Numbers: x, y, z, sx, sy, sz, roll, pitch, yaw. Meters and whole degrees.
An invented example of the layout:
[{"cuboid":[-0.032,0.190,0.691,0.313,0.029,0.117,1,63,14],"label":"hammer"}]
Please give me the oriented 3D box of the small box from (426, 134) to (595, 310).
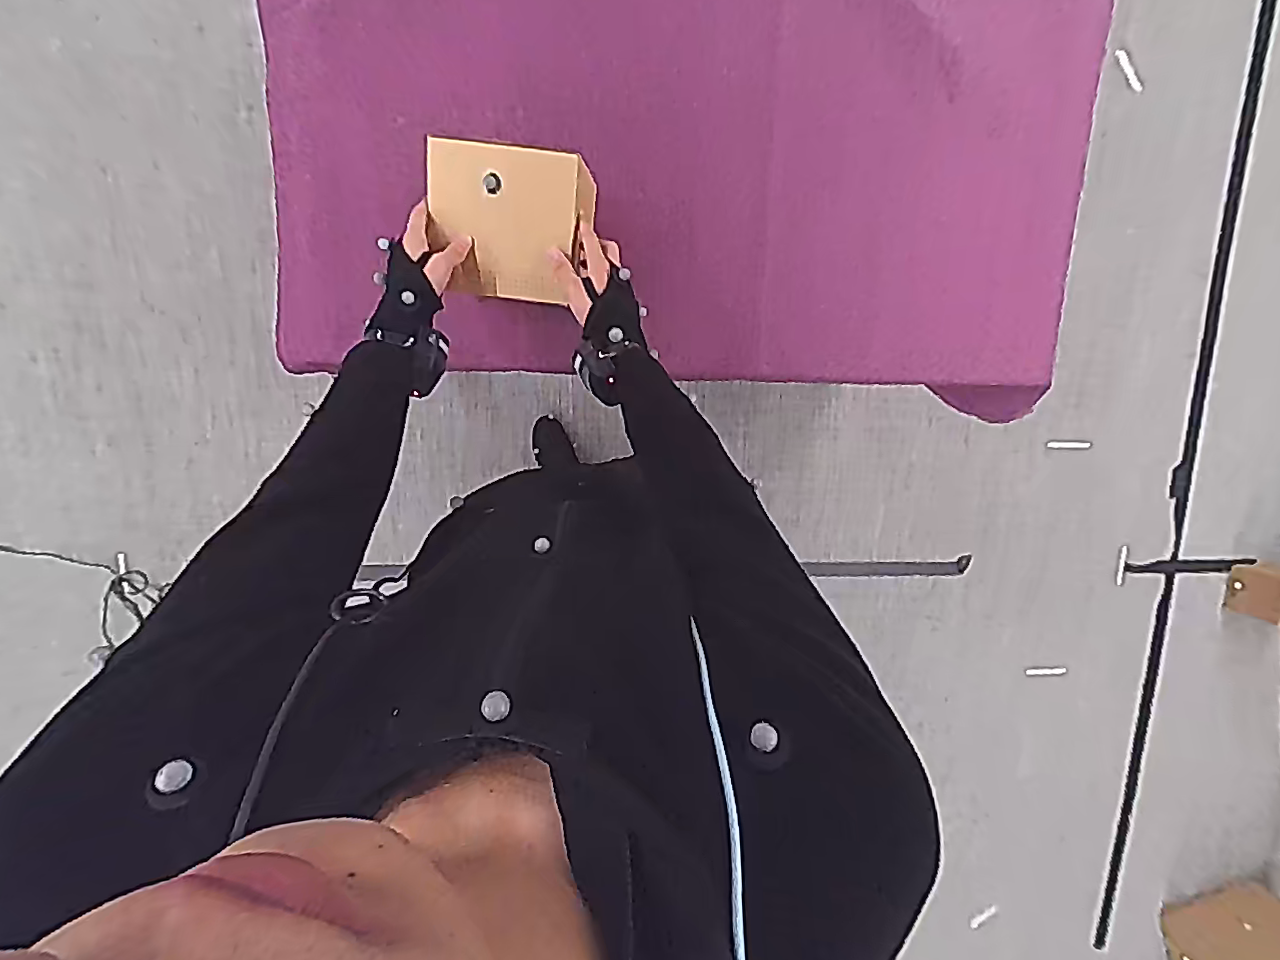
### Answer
[{"cuboid":[-0.160,-0.320,0.701,0.179,0.168,0.176,7,107,0],"label":"small box"}]
